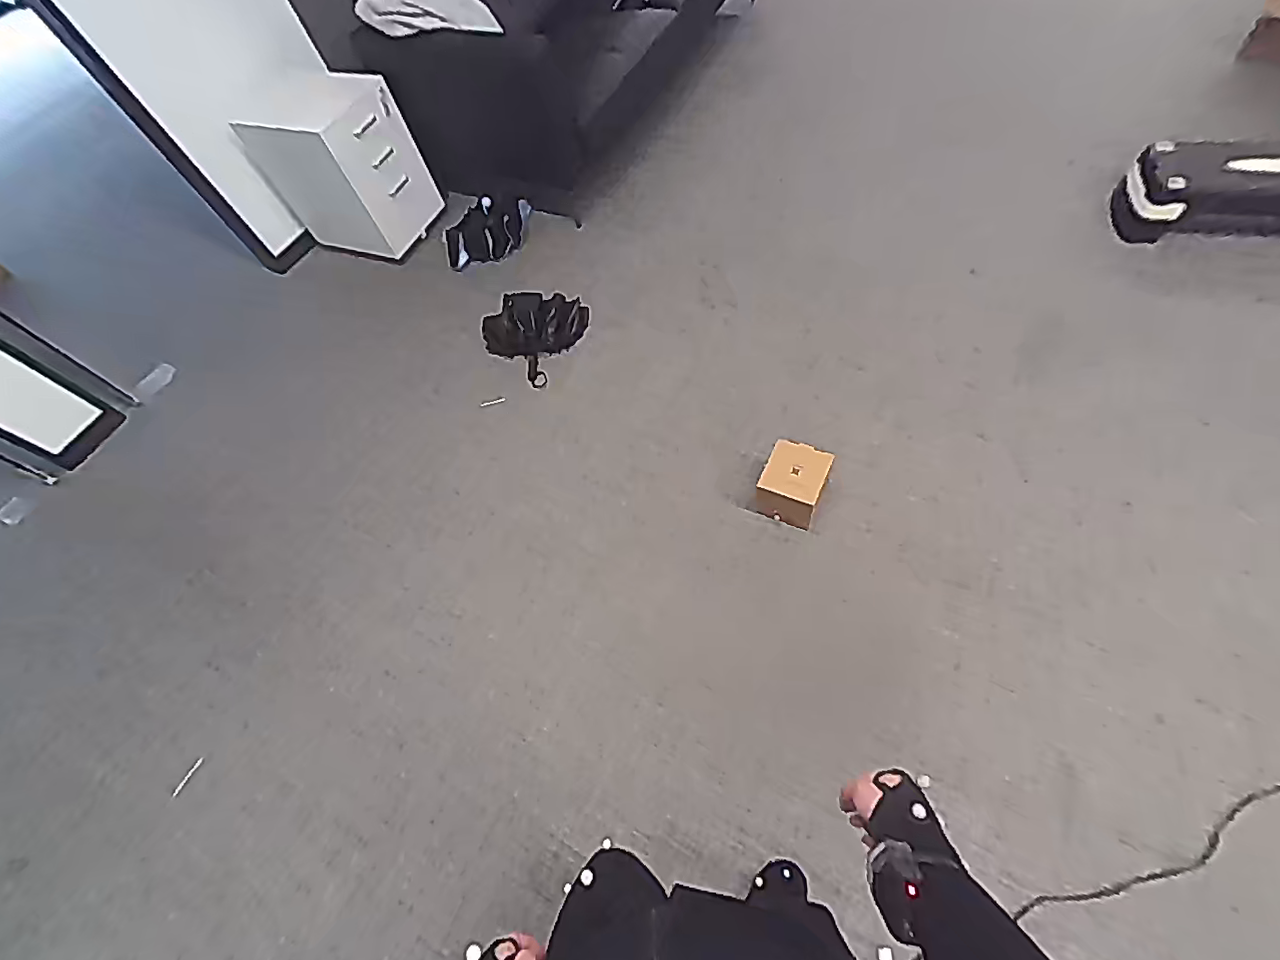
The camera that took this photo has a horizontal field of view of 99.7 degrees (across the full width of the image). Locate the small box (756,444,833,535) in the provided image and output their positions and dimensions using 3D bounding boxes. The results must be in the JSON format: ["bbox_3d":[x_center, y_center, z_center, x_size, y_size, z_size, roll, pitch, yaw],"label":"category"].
[{"bbox_3d":[0.444,0.030,1.574,0.168,0.176,0.179,20,67,22],"label":"small box"}]
